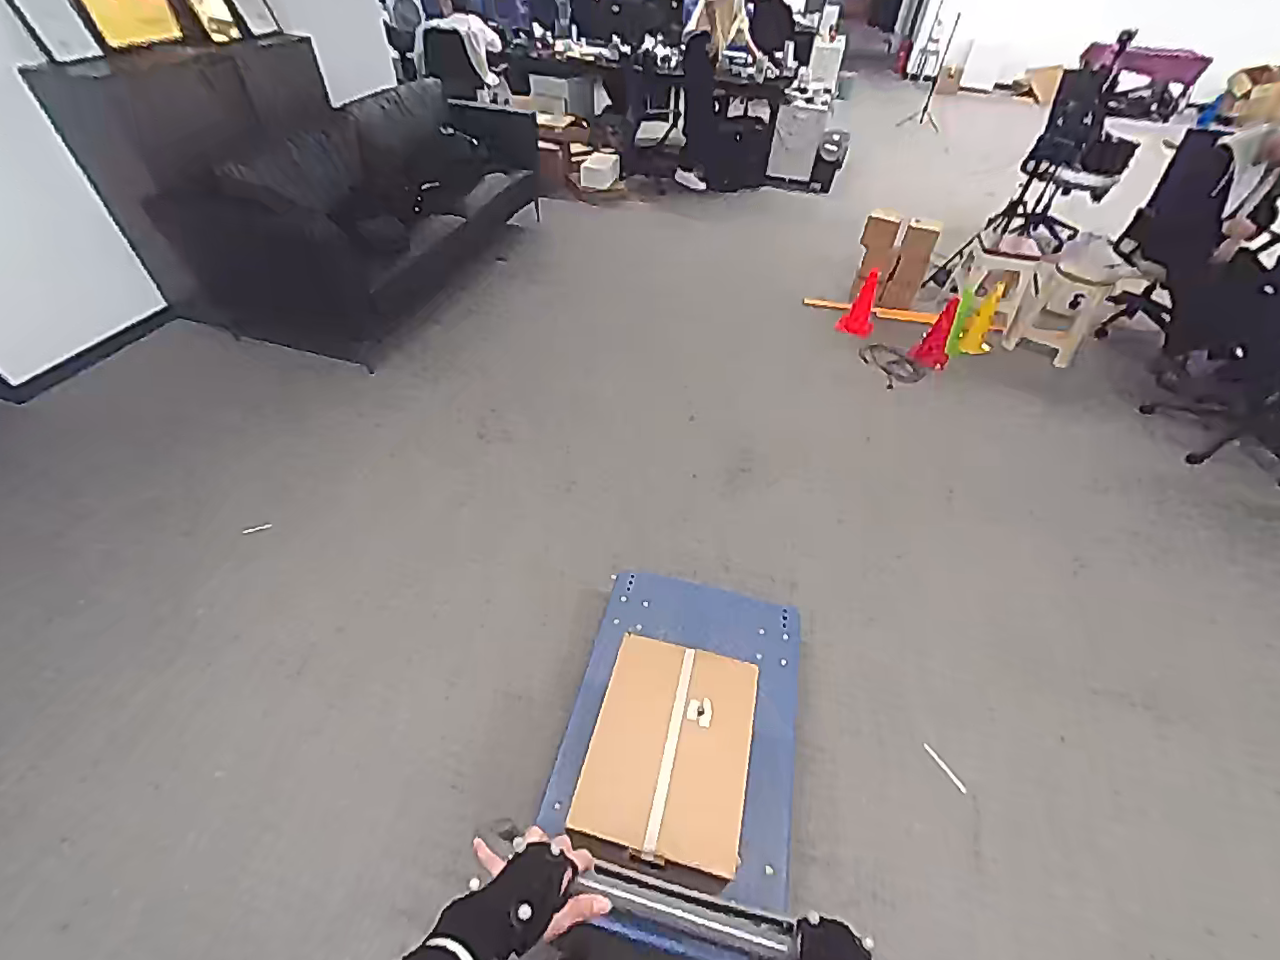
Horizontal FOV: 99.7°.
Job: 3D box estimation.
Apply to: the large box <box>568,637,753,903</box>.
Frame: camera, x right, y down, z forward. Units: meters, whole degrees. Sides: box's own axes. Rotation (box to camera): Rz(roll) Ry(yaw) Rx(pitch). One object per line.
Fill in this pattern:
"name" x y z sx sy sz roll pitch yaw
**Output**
"large box" 0.056 0.632 1.198 0.320 0.320 0.408 12 45 8
